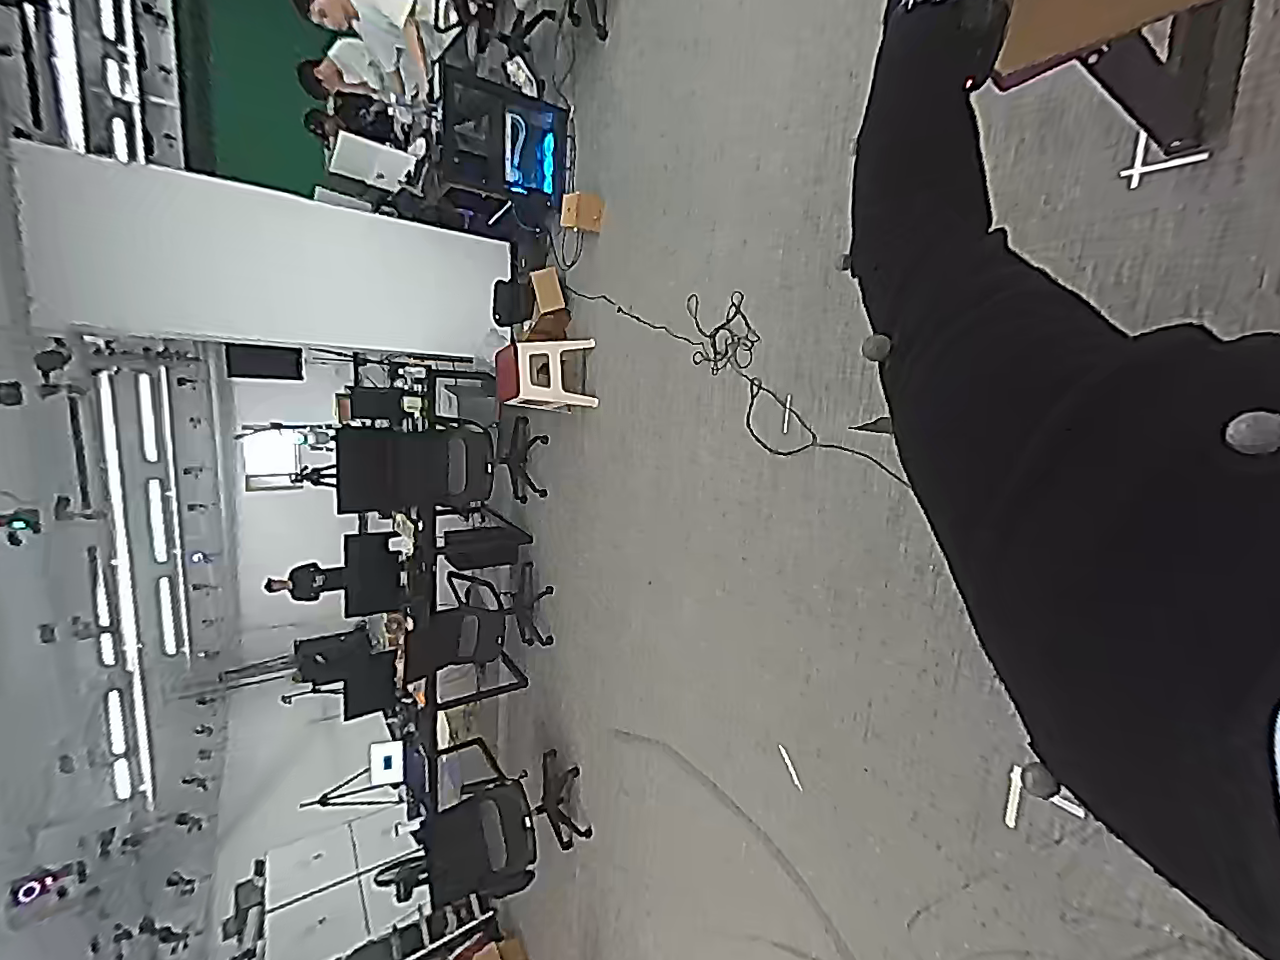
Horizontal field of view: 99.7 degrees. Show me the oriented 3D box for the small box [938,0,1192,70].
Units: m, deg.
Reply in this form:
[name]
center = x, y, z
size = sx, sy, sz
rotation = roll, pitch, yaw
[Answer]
[small box]
center = 0.377, -0.486, 0.449
size = 0.179, 0.176, 0.168
rotation = 12, 110, 48
